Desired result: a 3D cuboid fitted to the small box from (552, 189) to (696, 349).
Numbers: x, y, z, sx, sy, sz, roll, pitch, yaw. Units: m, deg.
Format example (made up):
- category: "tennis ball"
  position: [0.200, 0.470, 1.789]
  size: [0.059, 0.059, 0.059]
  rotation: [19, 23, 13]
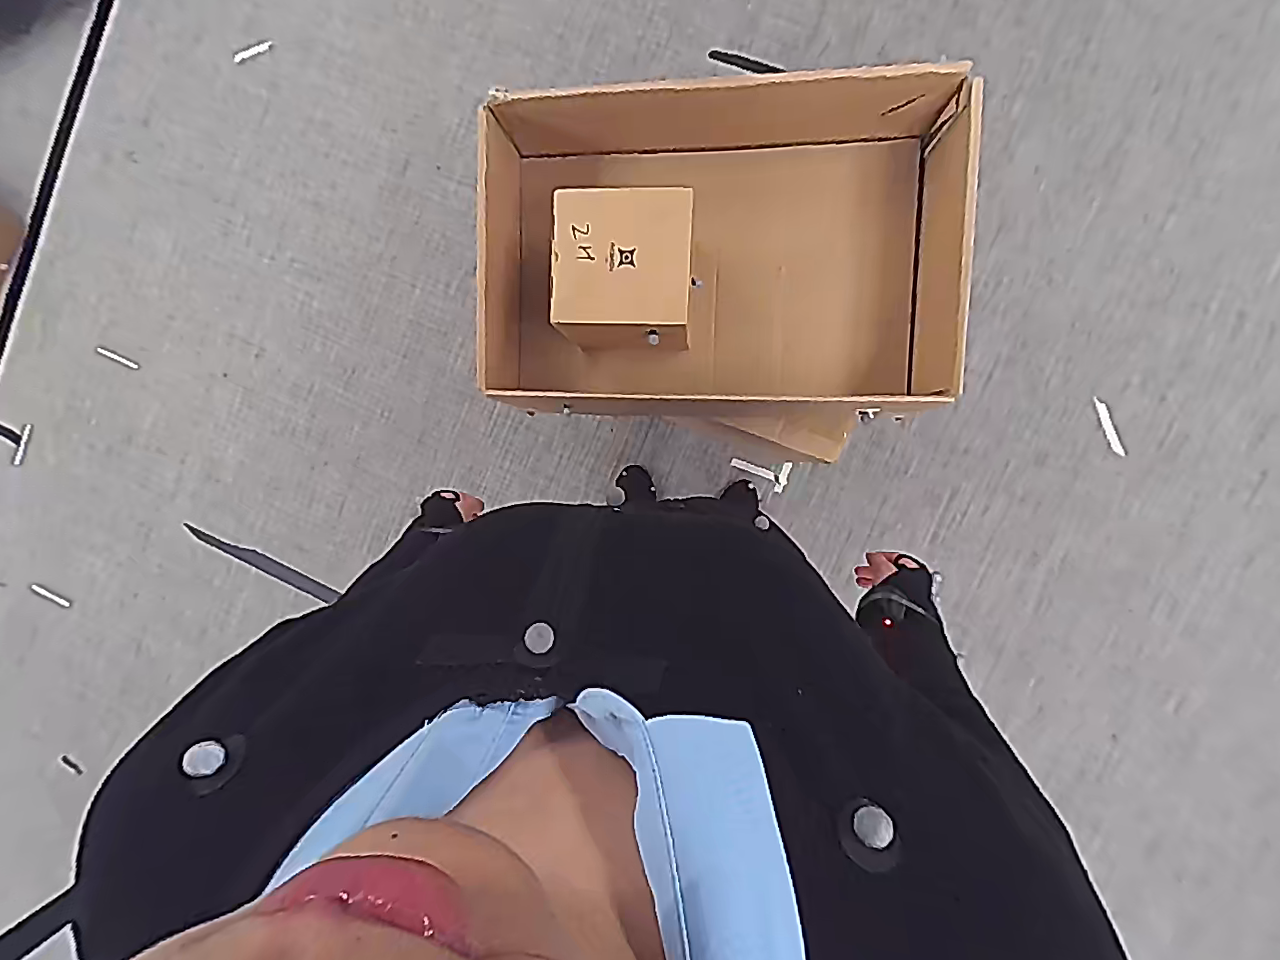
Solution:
- category: "small box"
  position: [-0.013, -0.279, 0.748]
  size: [0.179, 0.176, 0.168]
  rotation: [3, 93, 7]
